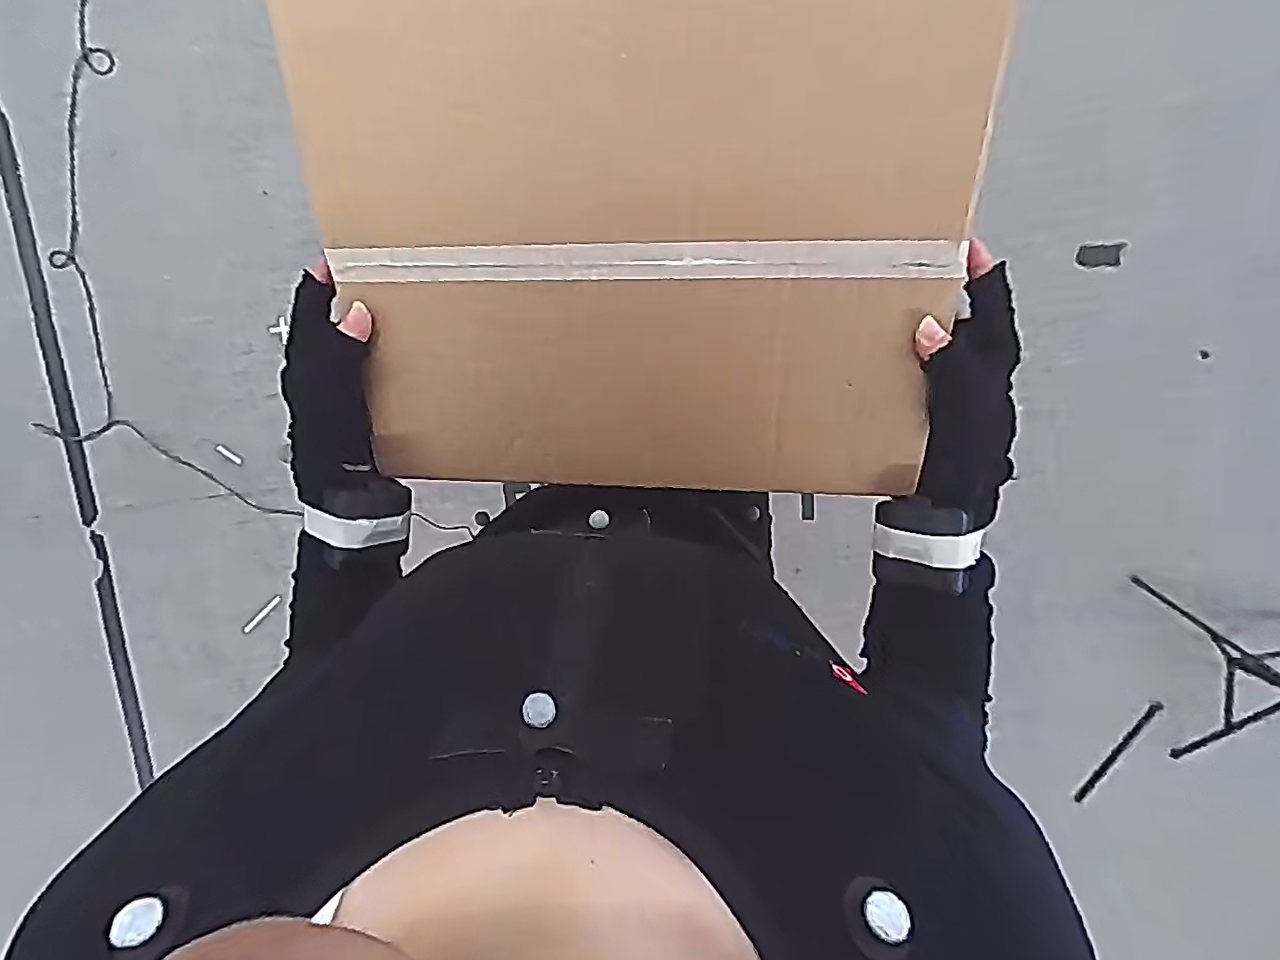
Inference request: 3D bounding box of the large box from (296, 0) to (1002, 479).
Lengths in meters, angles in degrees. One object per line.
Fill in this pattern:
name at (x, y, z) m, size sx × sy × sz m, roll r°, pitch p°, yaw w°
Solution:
large box at (0.010, -0.204, 0.492) m, size 0.408 × 0.320 × 0.320 m, roll 2°, pitch 116°, yaw 5°
